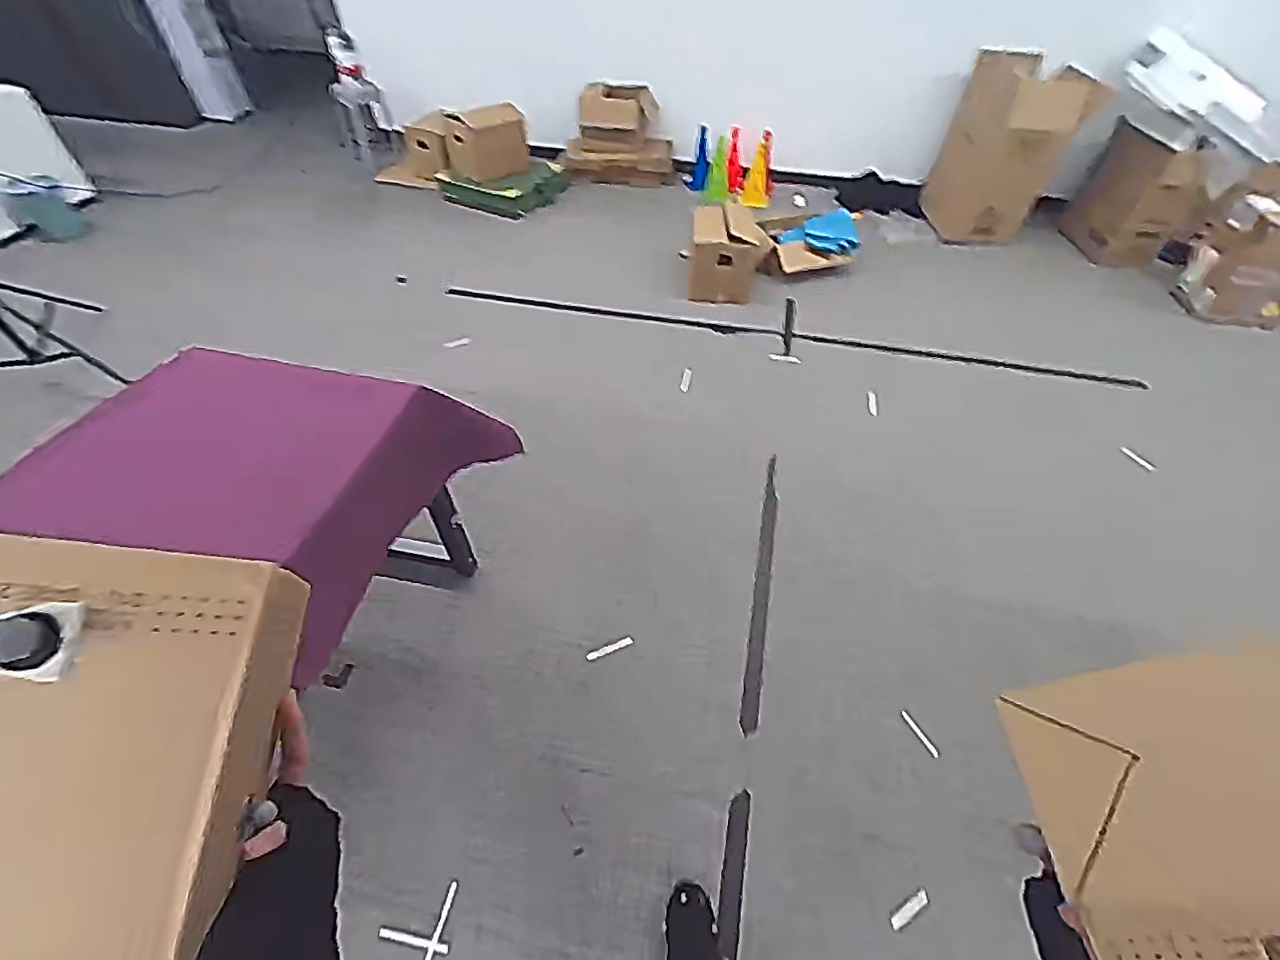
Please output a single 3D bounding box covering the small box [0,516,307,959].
[{"bbox_3d":[-0.275,0.115,0.259,0.168,0.179,0.176,9,71,-24],"label":"small box"}]
